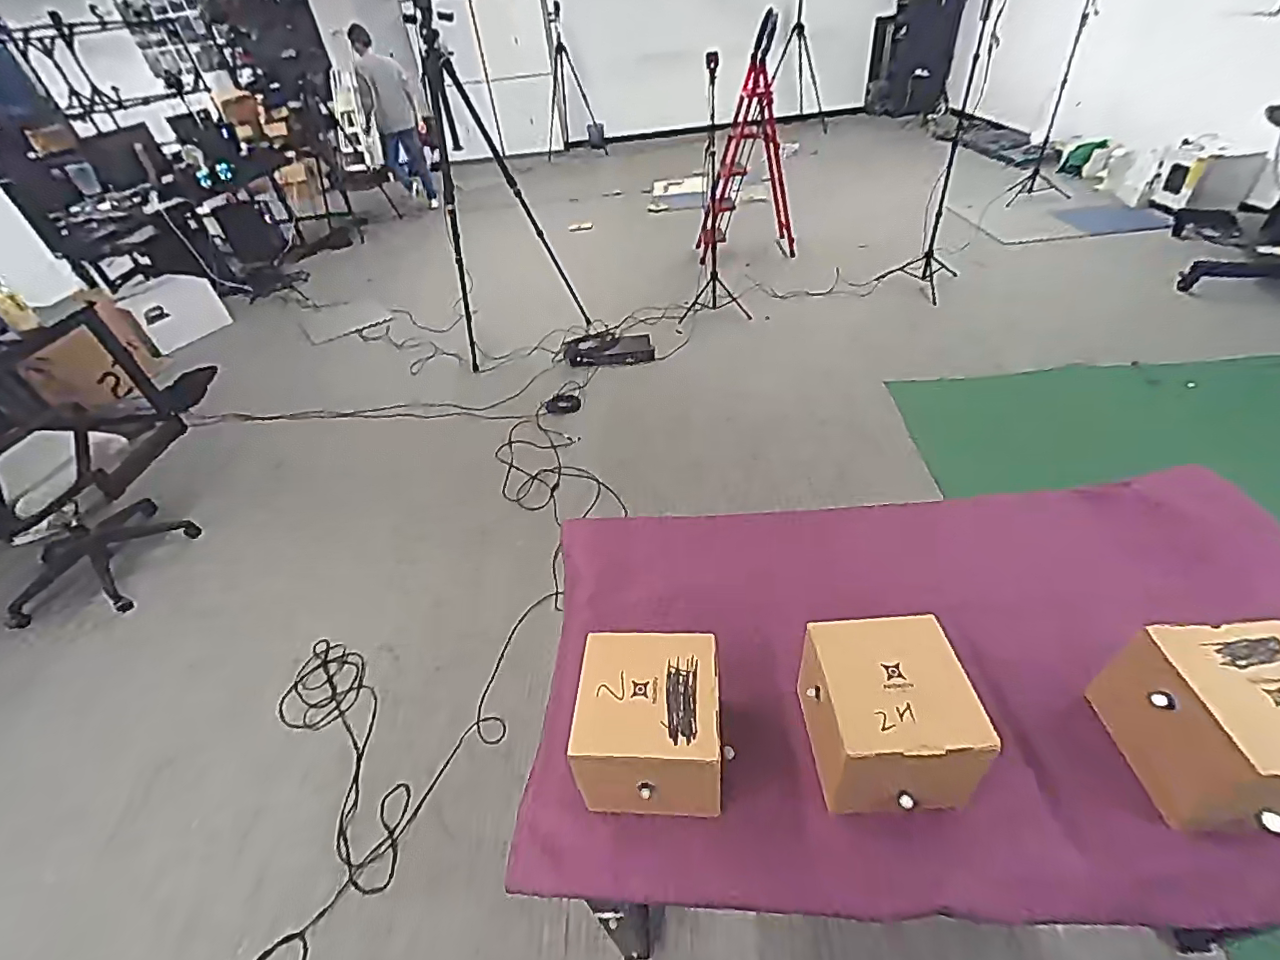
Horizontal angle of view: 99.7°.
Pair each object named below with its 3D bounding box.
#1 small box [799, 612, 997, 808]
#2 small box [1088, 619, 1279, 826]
[{"bbox_3d":[0.311,0.296,0.701,0.168,0.176,0.179,-5,40,3],"label":"small box"},{"bbox_3d":[0.703,0.291,0.653,0.168,0.176,0.179,-4,41,4],"label":"small box"}]
